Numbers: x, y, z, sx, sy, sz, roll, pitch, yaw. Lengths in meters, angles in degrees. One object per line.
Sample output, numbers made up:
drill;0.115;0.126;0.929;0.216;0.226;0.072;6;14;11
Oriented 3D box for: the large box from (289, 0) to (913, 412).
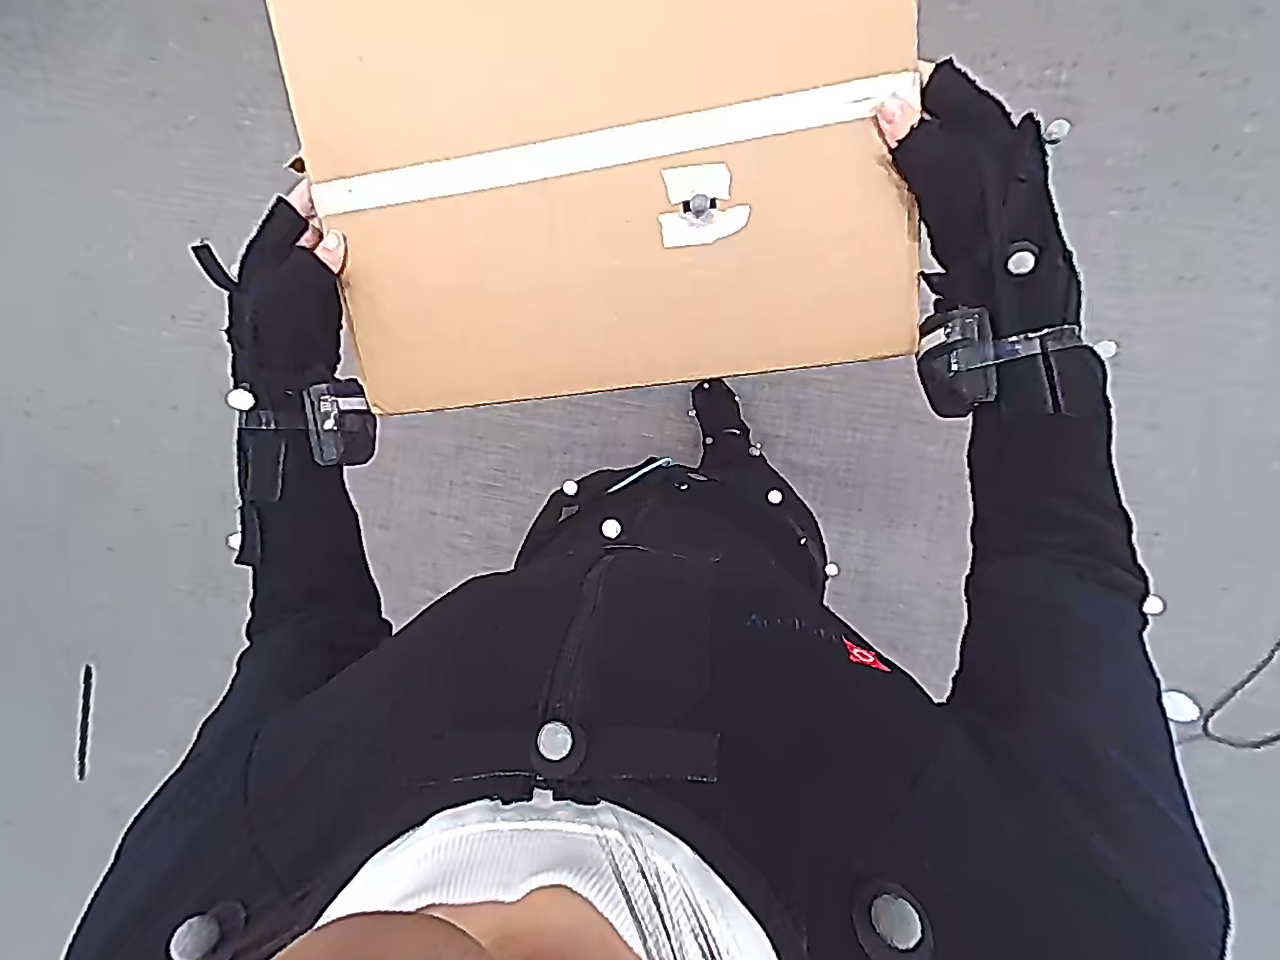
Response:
large box;-0.012;-0.261;0.515;0.408;0.320;0.320;-6;105;7
